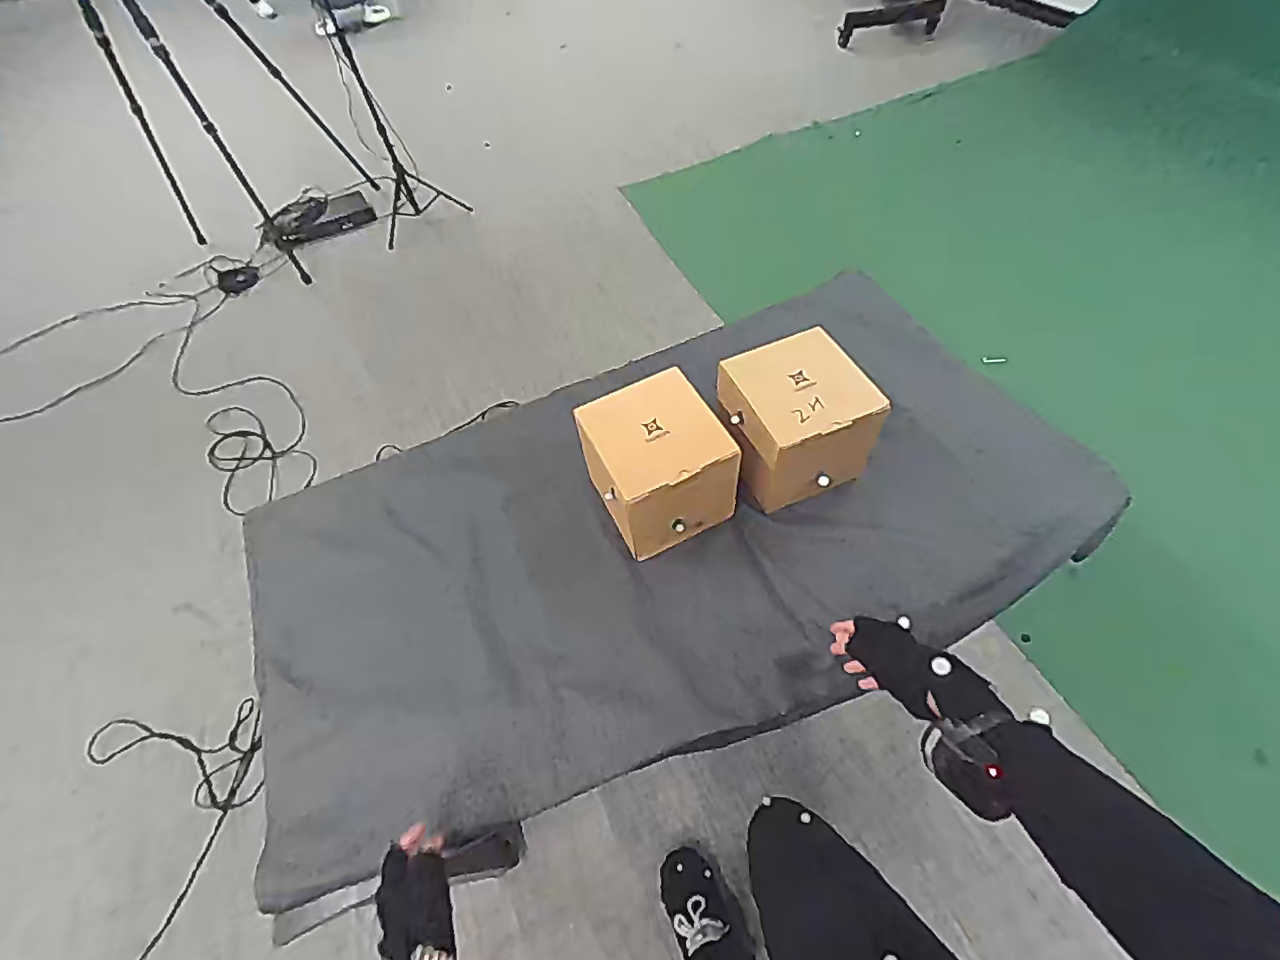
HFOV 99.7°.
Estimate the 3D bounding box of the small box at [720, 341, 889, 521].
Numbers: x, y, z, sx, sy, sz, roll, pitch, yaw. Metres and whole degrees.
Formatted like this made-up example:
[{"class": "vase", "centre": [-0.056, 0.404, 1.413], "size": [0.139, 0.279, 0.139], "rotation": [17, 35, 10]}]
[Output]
[{"class": "small box", "centre": [0.226, -0.069, 0.803], "size": [0.168, 0.176, 0.179], "rotation": [-21, 57, -8]}]
